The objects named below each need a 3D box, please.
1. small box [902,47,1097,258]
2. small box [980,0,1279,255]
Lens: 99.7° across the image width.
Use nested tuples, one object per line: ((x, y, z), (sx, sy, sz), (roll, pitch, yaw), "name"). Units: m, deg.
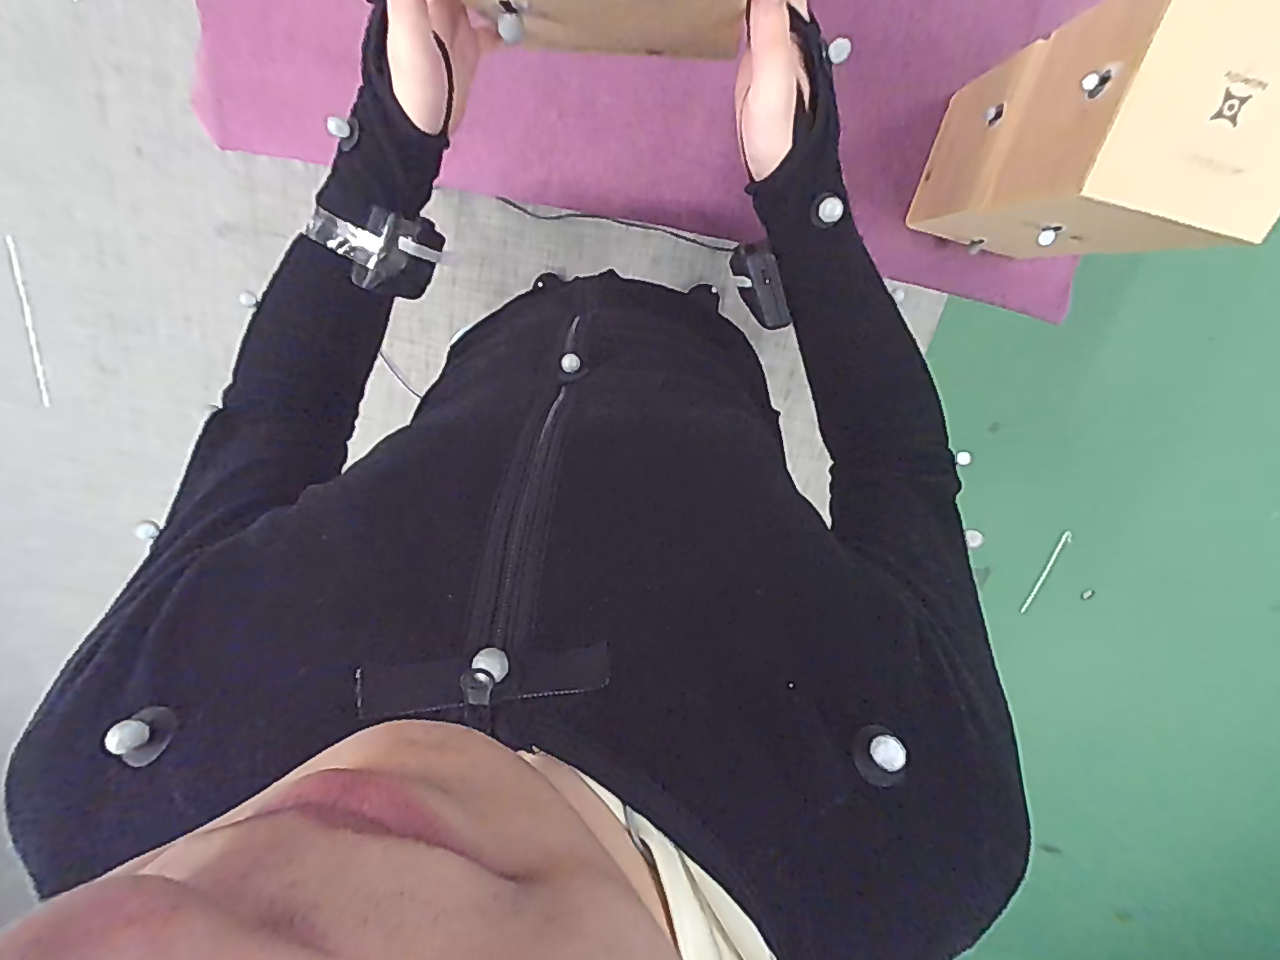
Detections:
((0.466, -0.379, 0.663), (0.179, 0.176, 0.168), (14, 109, -4), "small box")
((0.466, -0.326, 0.508), (0.168, 0.176, 0.179), (14, 110, -2), "small box")
